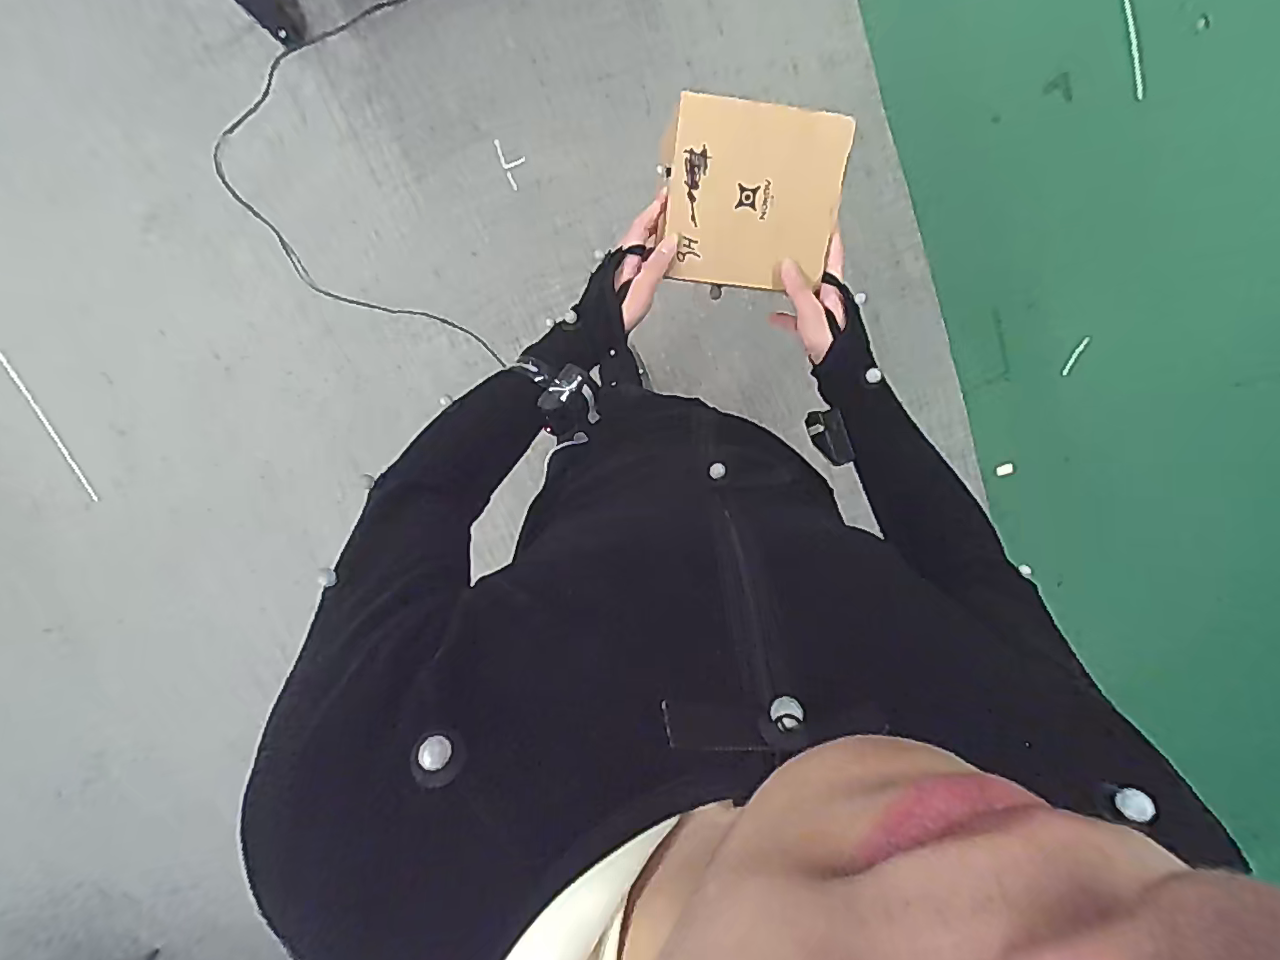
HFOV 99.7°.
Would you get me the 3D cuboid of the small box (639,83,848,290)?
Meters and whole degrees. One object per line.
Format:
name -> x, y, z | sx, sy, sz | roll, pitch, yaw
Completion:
small box -> 0.100, -0.313, 0.611 | 0.179, 0.176, 0.168 | 4, 109, -6
